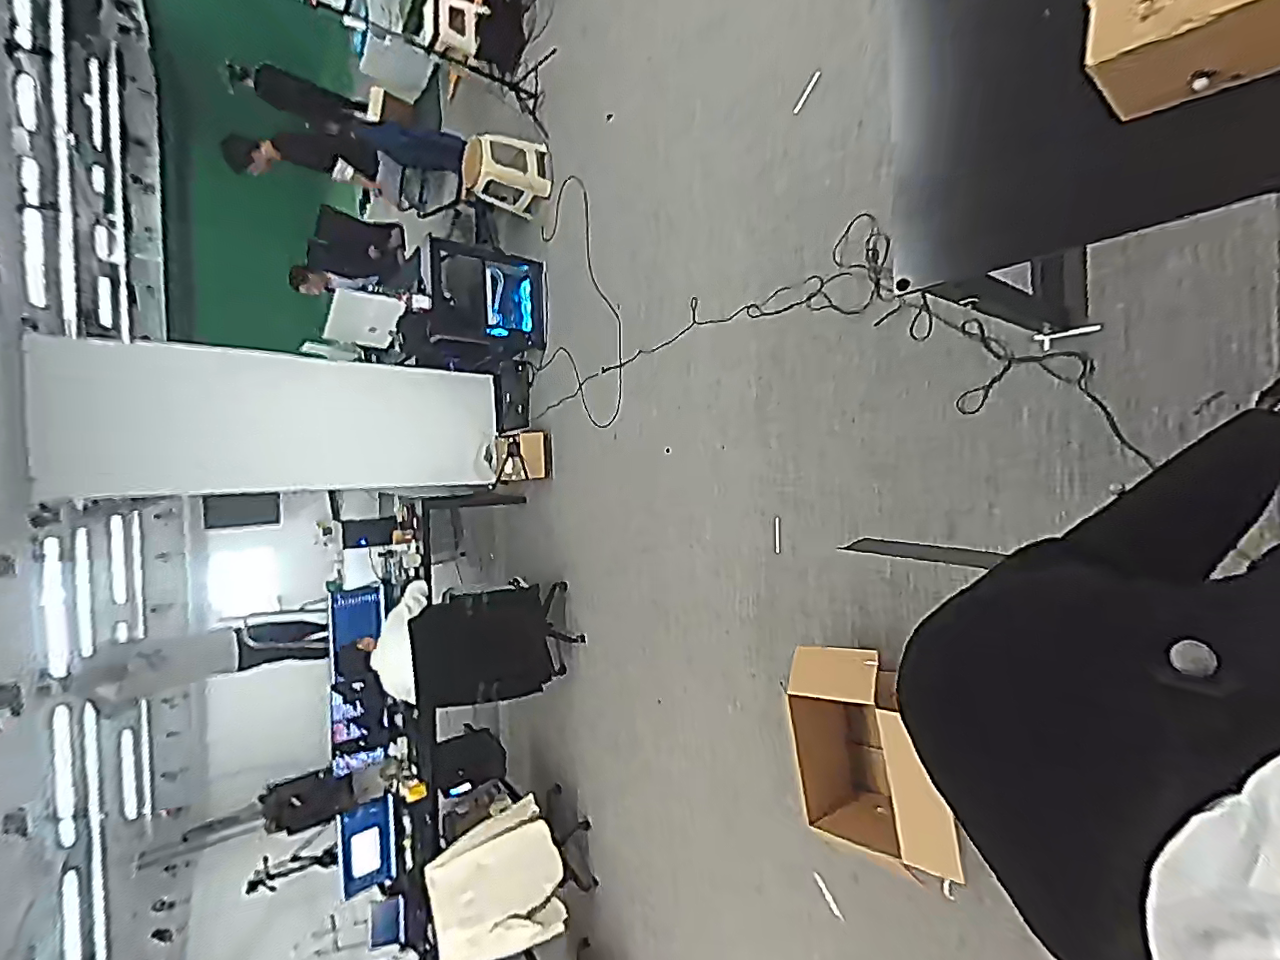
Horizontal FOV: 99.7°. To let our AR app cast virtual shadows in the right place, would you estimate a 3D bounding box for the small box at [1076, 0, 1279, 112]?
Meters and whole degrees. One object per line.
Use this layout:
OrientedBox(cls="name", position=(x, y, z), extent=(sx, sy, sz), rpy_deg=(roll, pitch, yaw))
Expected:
OrientedBox(cls="small box", position=(0.611, -0.551, 0.589), extent=(0.168, 0.176, 0.179), rpy_deg=(9, 100, 53))
